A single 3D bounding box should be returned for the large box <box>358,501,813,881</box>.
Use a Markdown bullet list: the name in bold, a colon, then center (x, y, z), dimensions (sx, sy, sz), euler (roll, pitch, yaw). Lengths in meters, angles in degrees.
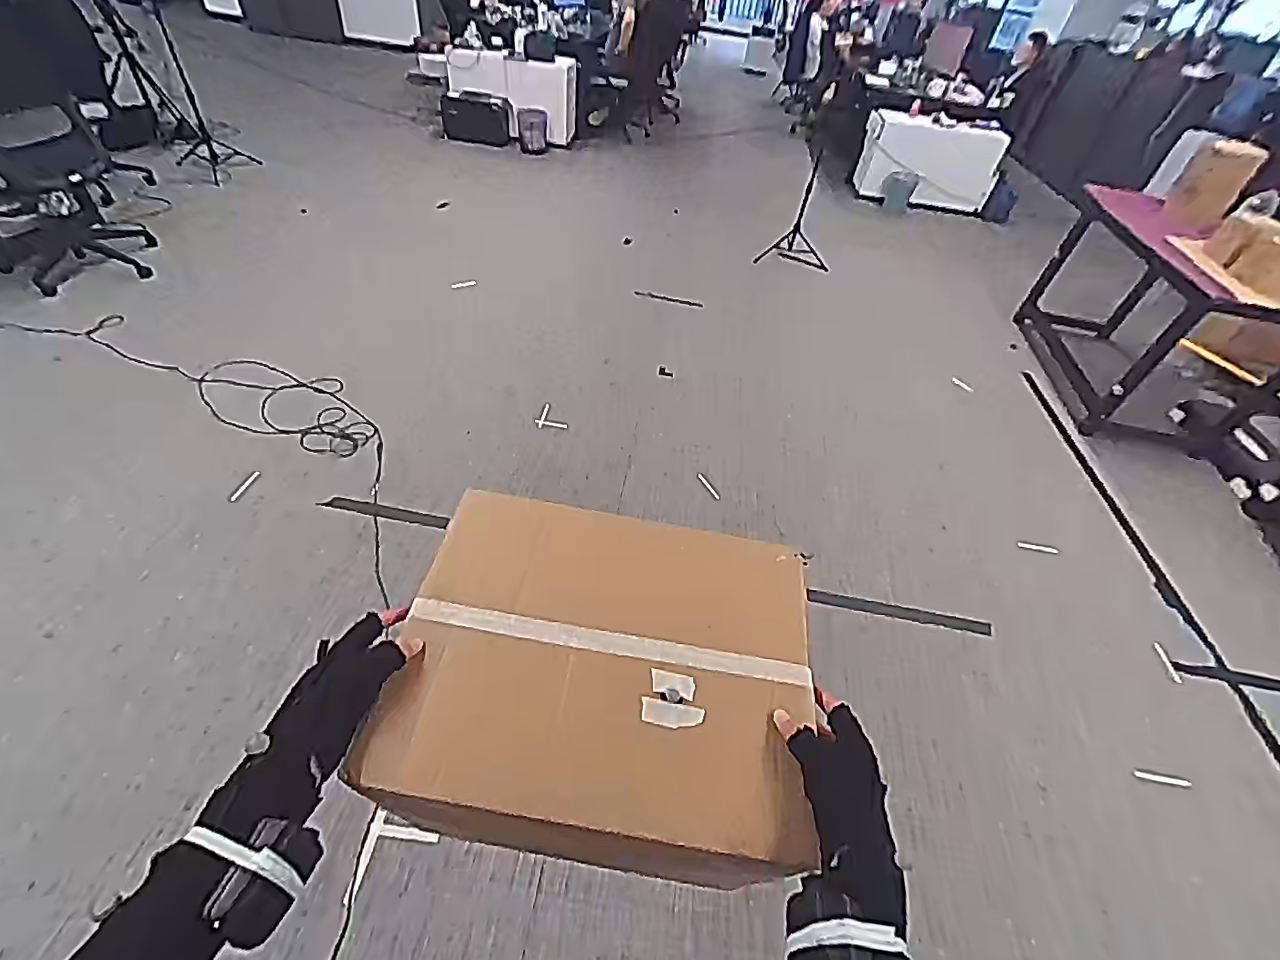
- **large box**: center (-0.047, 0.266, 0.667), dimensions (0.408, 0.320, 0.320), euler (11, 51, 0)
